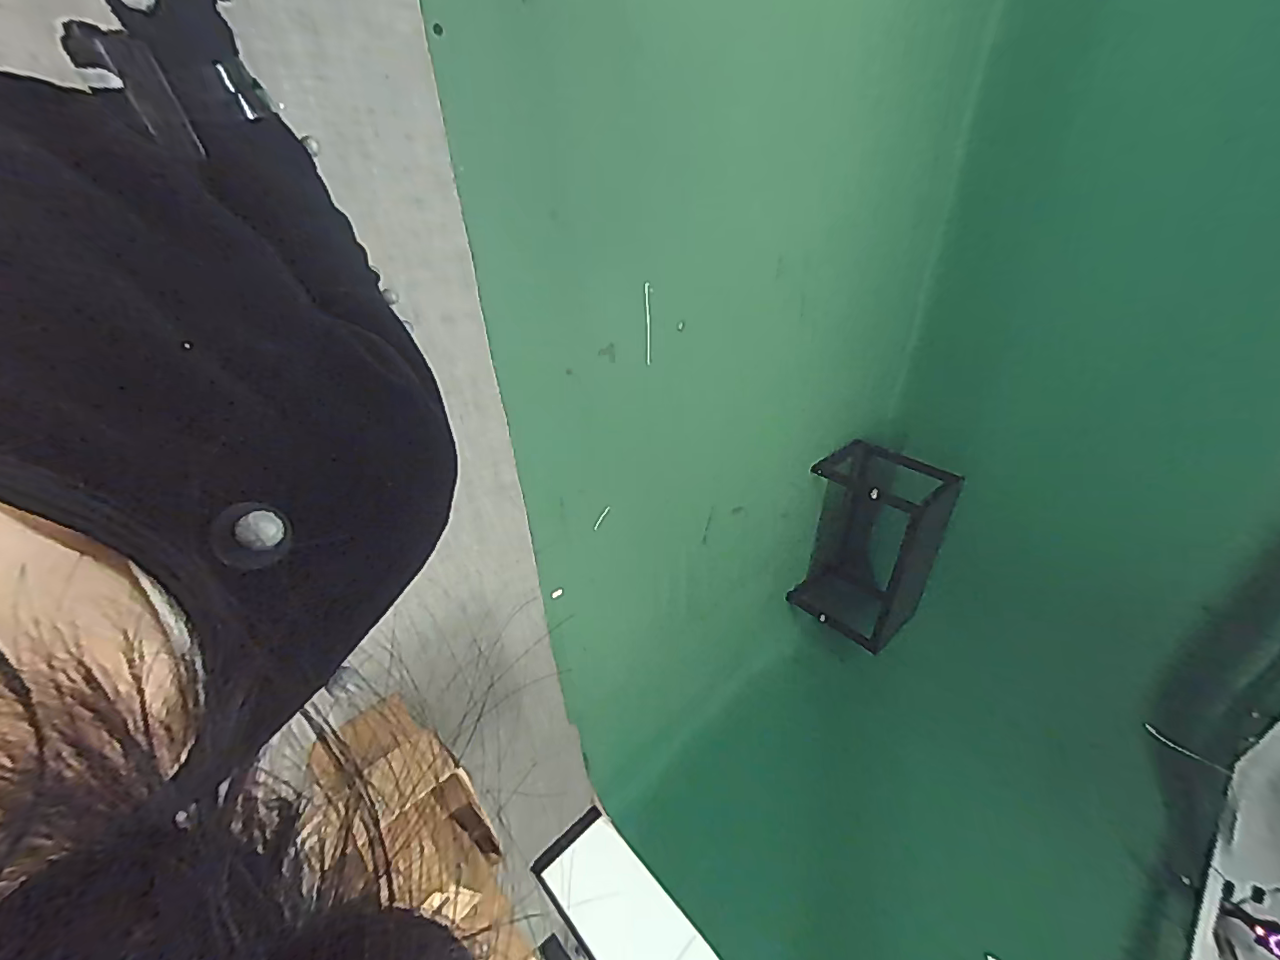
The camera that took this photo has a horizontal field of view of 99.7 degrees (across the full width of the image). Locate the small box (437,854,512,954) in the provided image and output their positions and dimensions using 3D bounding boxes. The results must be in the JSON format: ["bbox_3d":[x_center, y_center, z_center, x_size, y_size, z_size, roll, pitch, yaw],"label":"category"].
[{"bbox_3d":[-0.515,1.272,1.607,0.179,0.176,0.168,-35,134,-30],"label":"small box"}]

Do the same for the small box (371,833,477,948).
[{"bbox_3d":[-0.572,1.077,1.428,0.168,0.176,0.179,-40,138,-22],"label":"small box"}]

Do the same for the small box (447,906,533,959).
[{"bbox_3d":[-0.406,1.346,1.506,0.168,0.176,0.179,-33,133,-31],"label":"small box"}]

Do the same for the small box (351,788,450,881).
[{"bbox_3d":[-0.681,1.015,1.534,0.168,0.176,0.179,-40,137,-22],"label":"small box"}]
